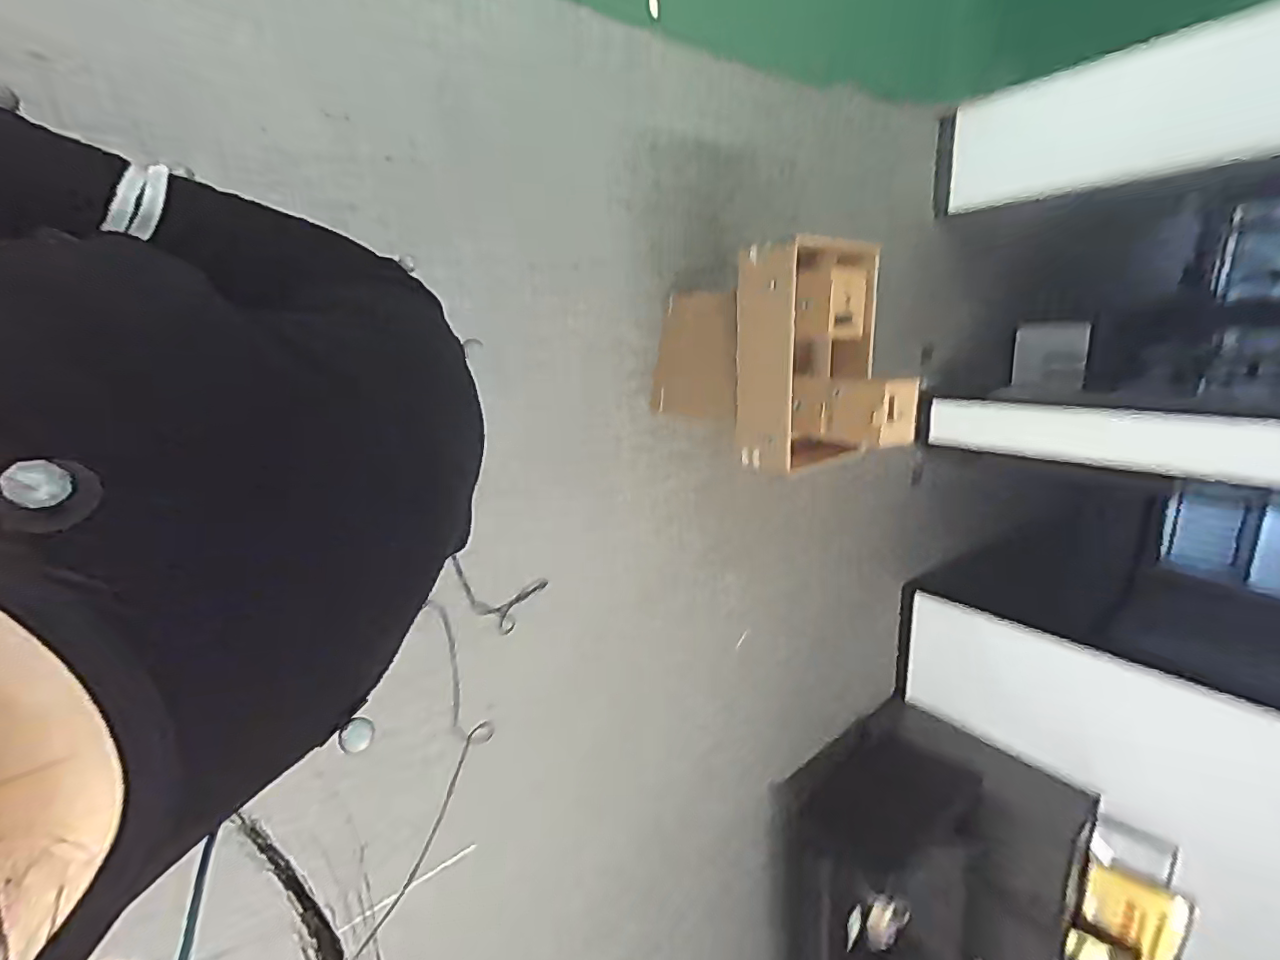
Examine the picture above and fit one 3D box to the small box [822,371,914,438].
[{"bbox_3d":[0.618,-0.211,1.477,0.179,0.176,0.168,-12,108,-37],"label":"small box"}]
